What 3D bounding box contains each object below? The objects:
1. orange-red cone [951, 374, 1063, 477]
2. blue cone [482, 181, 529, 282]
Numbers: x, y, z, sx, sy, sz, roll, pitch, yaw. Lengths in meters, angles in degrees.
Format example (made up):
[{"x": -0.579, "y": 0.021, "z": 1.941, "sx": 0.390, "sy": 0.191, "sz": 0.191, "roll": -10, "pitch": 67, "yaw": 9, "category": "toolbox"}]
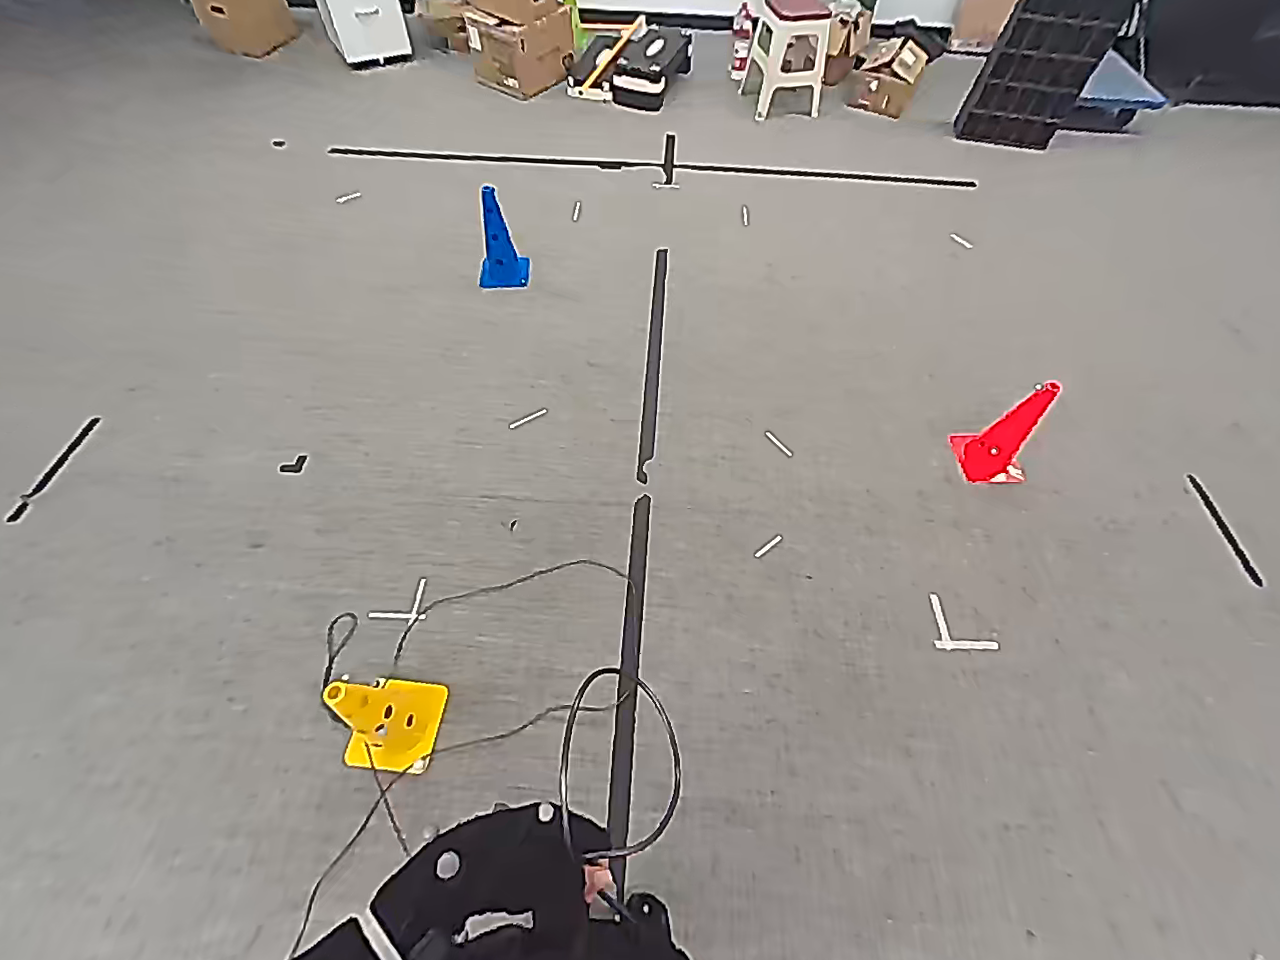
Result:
[{"x": 1.165, "y": -0.189, "z": 1.666, "sx": 0.198, "sy": 0.360, "sz": 0.199, "roll": 0, "pitch": 56, "yaw": -2, "category": "orange-red cone"}, {"x": -0.561, "y": -0.984, "z": 2.138, "sx": 0.192, "sy": 0.380, "sz": 0.193, "roll": -1, "pitch": 57, "yaw": -2, "category": "blue cone"}]
